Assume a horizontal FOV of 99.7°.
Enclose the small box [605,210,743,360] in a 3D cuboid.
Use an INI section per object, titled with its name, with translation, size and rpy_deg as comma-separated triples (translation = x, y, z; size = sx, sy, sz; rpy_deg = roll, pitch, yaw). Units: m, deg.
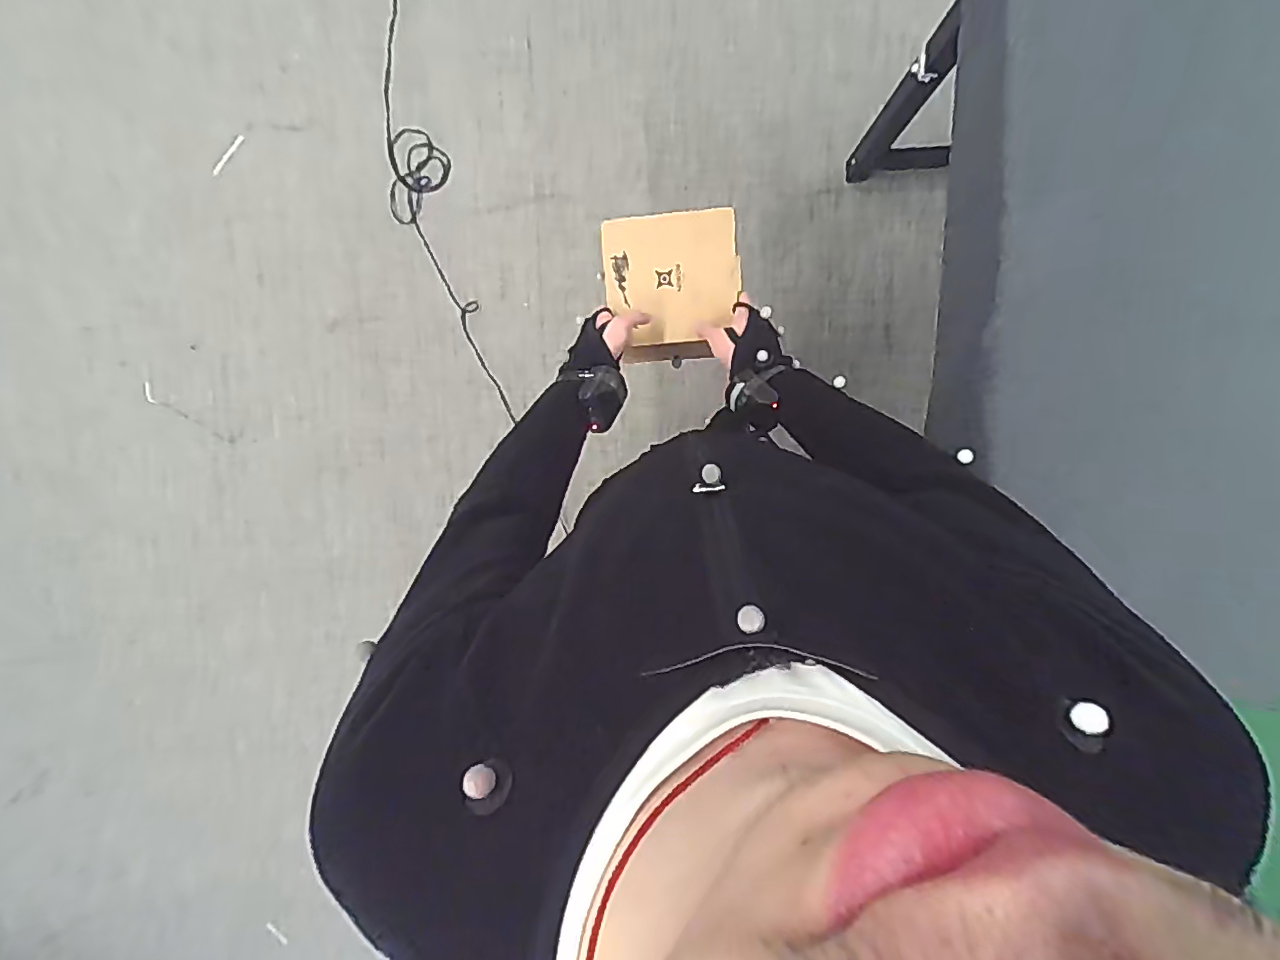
[small box]
translation = 0.048, -0.270, 0.782
size = 0.179, 0.176, 0.168
rpy_deg = -3, 95, 4
